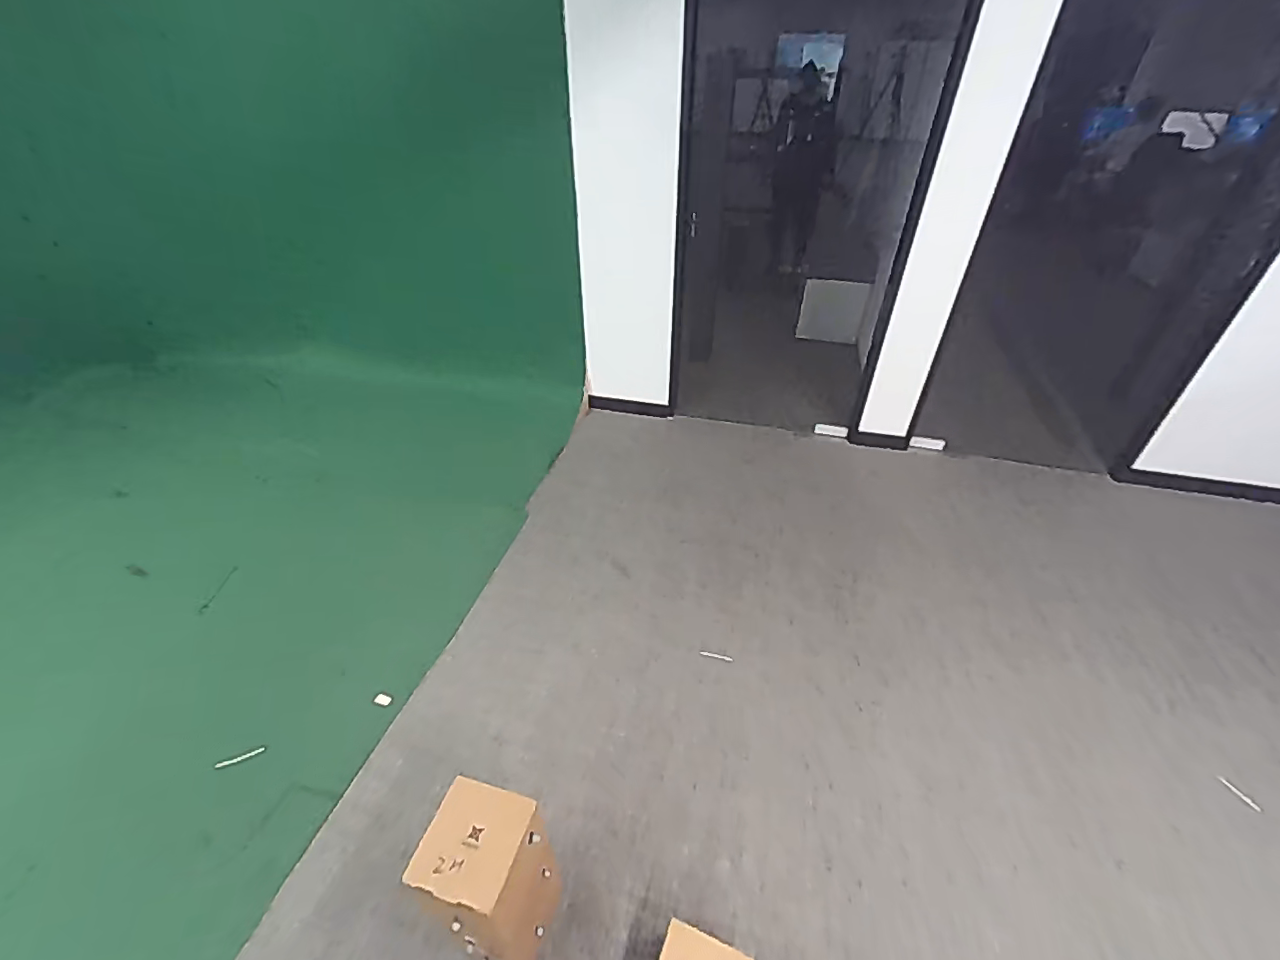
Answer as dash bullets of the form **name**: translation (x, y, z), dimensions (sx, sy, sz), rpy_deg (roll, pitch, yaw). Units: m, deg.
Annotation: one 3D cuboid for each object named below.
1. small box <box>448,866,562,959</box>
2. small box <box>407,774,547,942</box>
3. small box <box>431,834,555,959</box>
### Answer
- **small box**: translation (-0.278, 0.926, 1.166), dimensions (0.168, 0.176, 0.179), rpy_deg (12, 40, 15)
- **small box**: translation (-0.276, 0.670, 0.962), dimensions (0.168, 0.176, 0.179), rpy_deg (9, 38, 14)
- **small box**: translation (-0.276, 0.798, 1.065), dimensions (0.168, 0.176, 0.179), rpy_deg (9, 40, 14)
